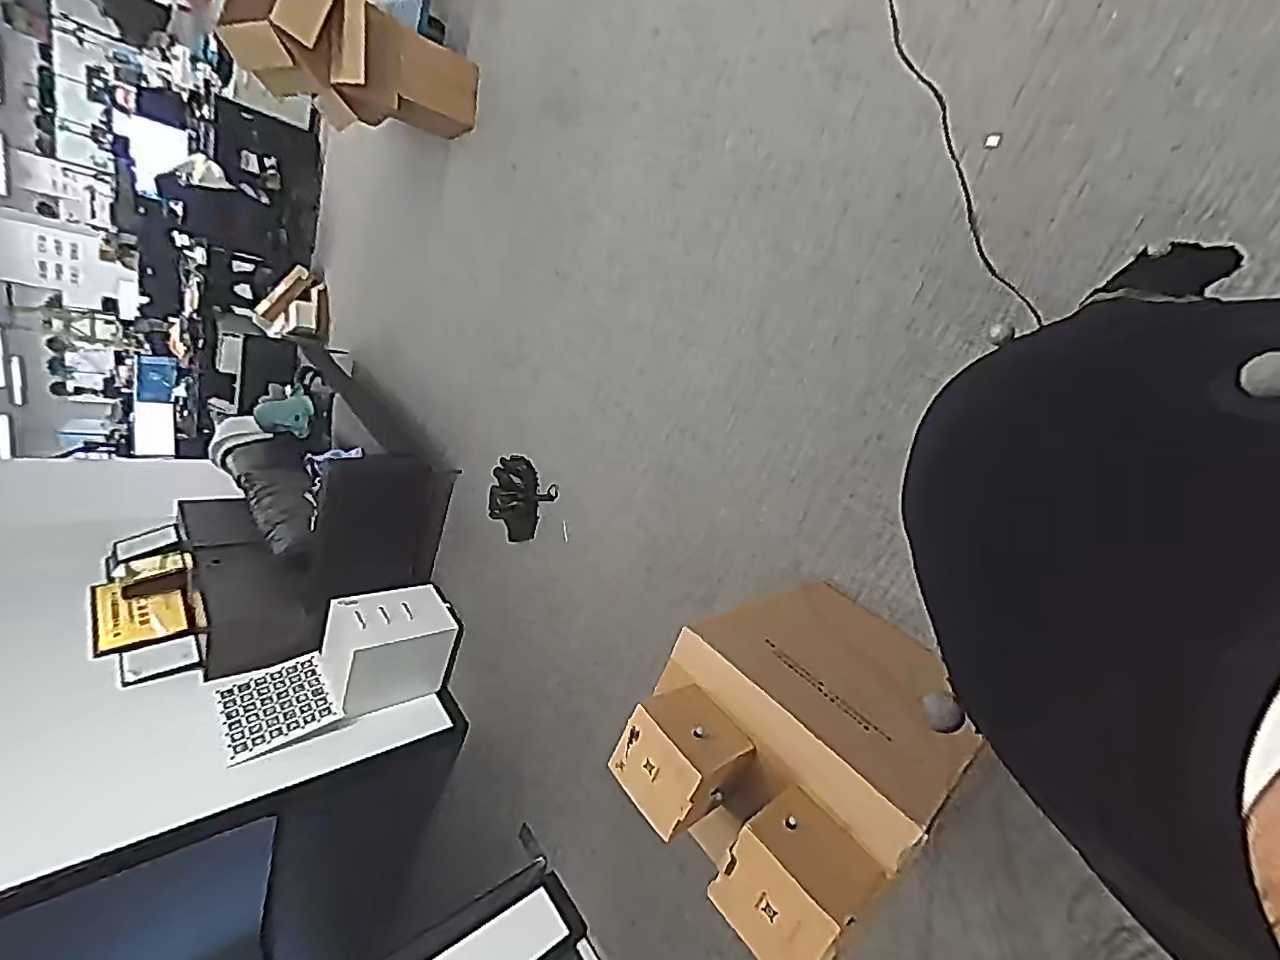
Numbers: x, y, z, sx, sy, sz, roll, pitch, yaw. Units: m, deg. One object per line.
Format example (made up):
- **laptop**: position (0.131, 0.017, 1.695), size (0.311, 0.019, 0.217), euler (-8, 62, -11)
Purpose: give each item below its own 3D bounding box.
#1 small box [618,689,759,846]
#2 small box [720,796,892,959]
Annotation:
- **small box**: position (0.095, 0.530, 1.027), size (0.179, 0.176, 0.168), euler (36, 111, 37)
- **small box**: position (0.266, 0.647, 0.866), size (0.179, 0.176, 0.168), euler (33, 111, 38)
